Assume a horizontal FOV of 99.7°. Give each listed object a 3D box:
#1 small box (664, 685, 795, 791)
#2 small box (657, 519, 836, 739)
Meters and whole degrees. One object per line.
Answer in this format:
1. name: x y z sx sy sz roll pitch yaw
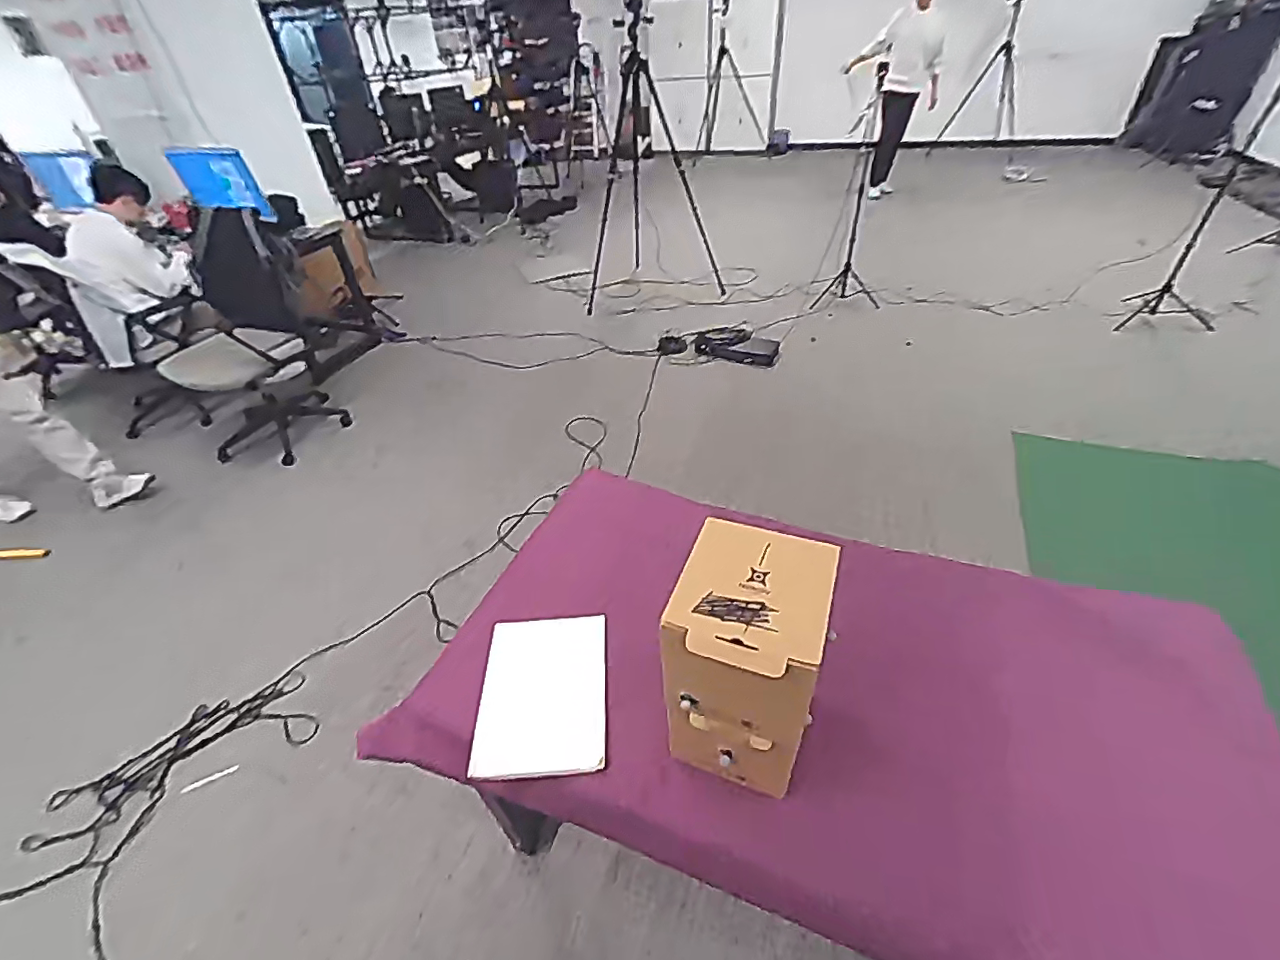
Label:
1. small box: 0.143 0.303 0.769 0.168 0.176 0.179 12 43 19
2. small box: 0.131 0.179 0.660 0.168 0.176 0.179 12 41 19
